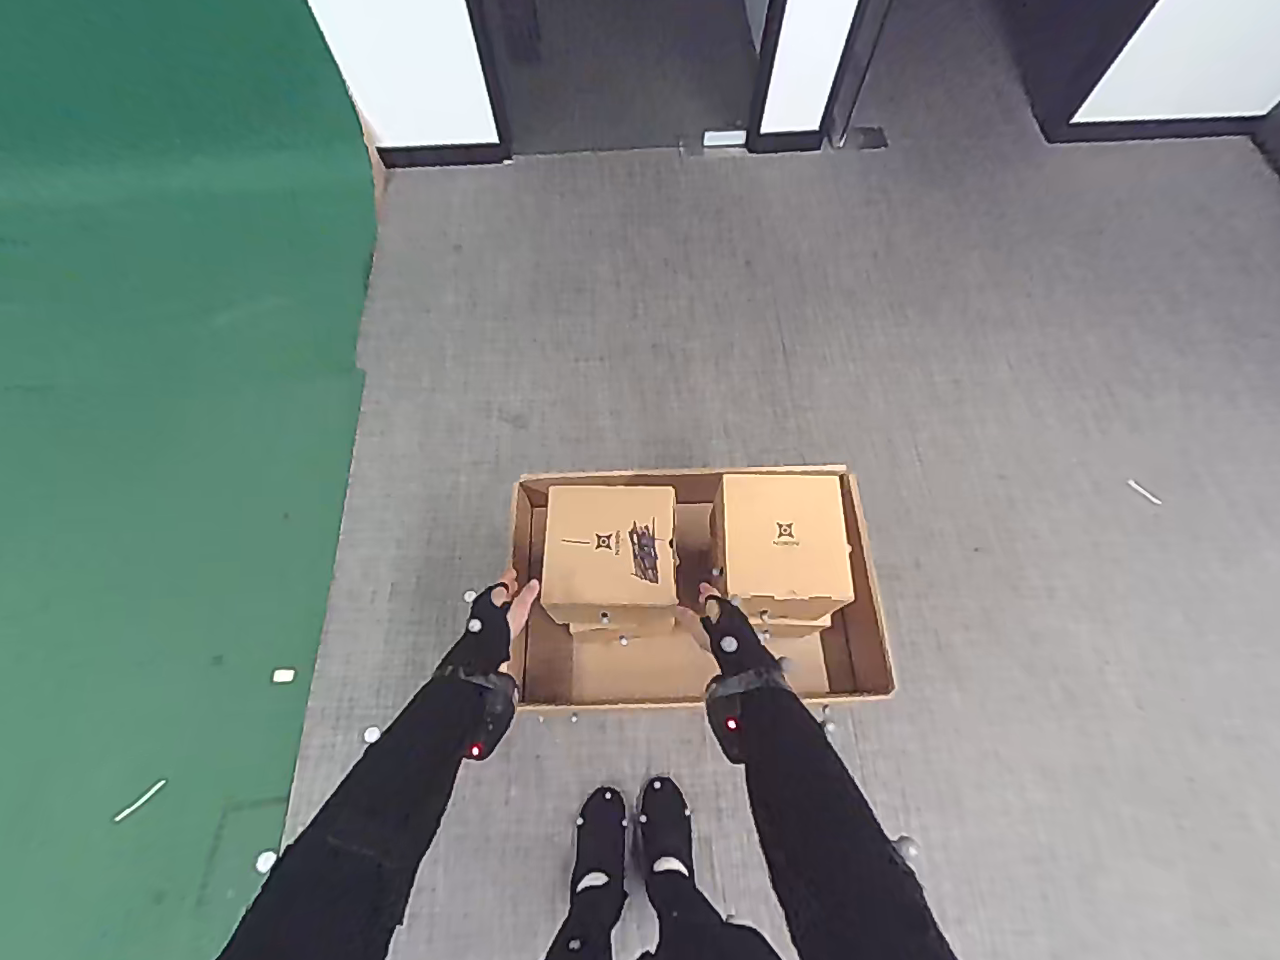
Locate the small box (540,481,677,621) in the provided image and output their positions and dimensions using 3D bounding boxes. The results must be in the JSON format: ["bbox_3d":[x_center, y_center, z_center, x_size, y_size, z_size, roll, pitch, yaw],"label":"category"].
[{"bbox_3d":[-0.040,0.110,0.793,0.179,0.176,0.168,1,66,0],"label":"small box"}]

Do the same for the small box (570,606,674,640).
[{"bbox_3d":[-0.036,0.174,0.944,0.168,0.176,0.179,-5,67,-3],"label":"small box"}]

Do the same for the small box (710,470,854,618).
[{"bbox_3d":[0.196,0.099,0.802,0.168,0.176,0.179,1,67,1],"label":"small box"}]
